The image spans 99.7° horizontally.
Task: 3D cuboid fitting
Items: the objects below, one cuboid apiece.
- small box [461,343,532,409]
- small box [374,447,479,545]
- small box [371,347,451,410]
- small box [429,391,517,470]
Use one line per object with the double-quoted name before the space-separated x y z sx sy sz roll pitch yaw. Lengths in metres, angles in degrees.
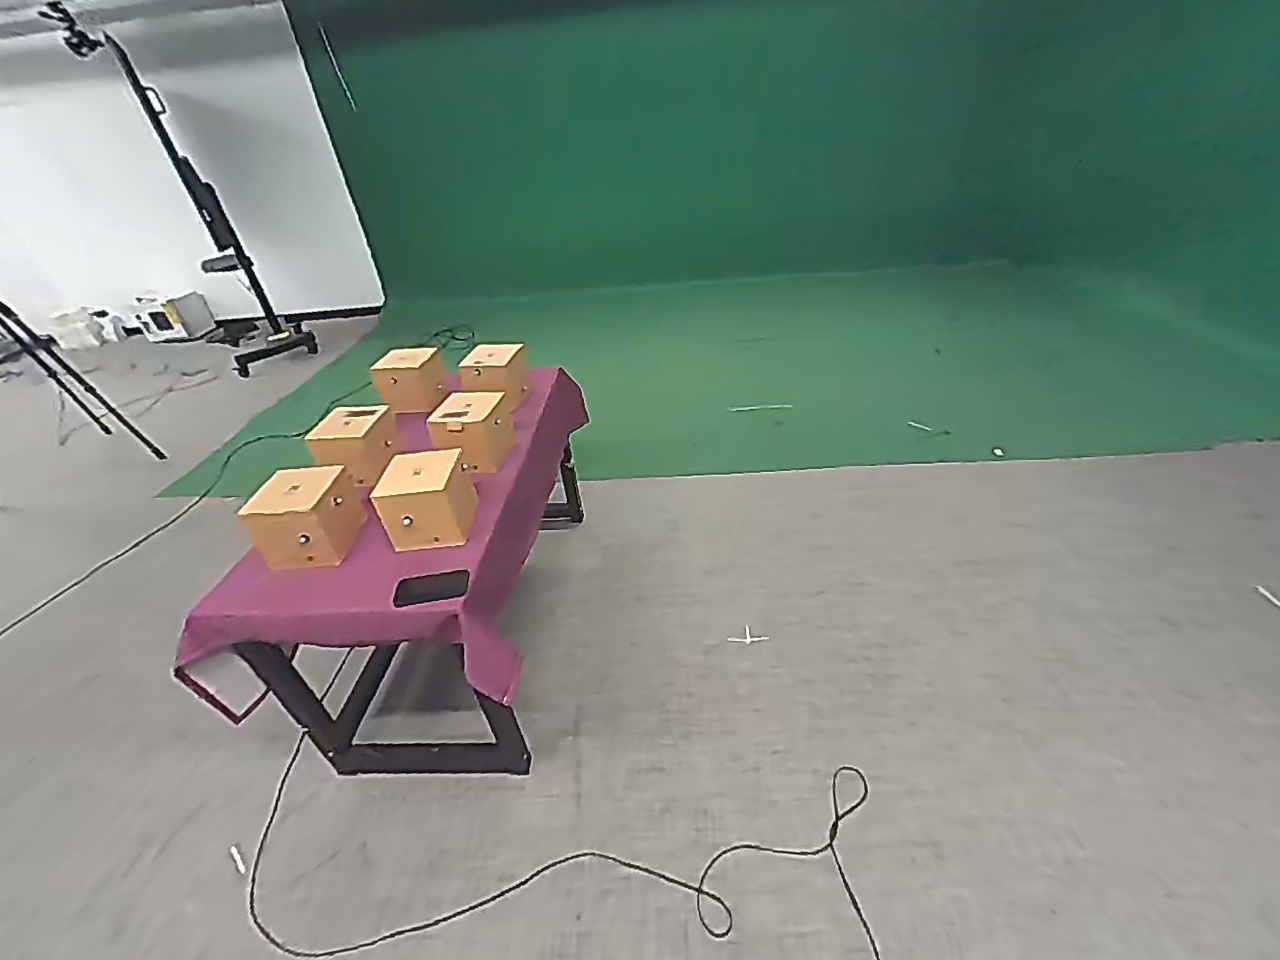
"small box" -0.481 -0.356 1.847 0.168 0.176 0.179 1 36 11
"small box" -0.498 0.043 1.293 0.168 0.176 0.179 -6 34 1
"small box" -0.792 -0.353 1.890 0.179 0.176 0.168 0 37 8
"small box" -0.467 -0.141 1.545 0.168 0.176 0.179 1 35 10
